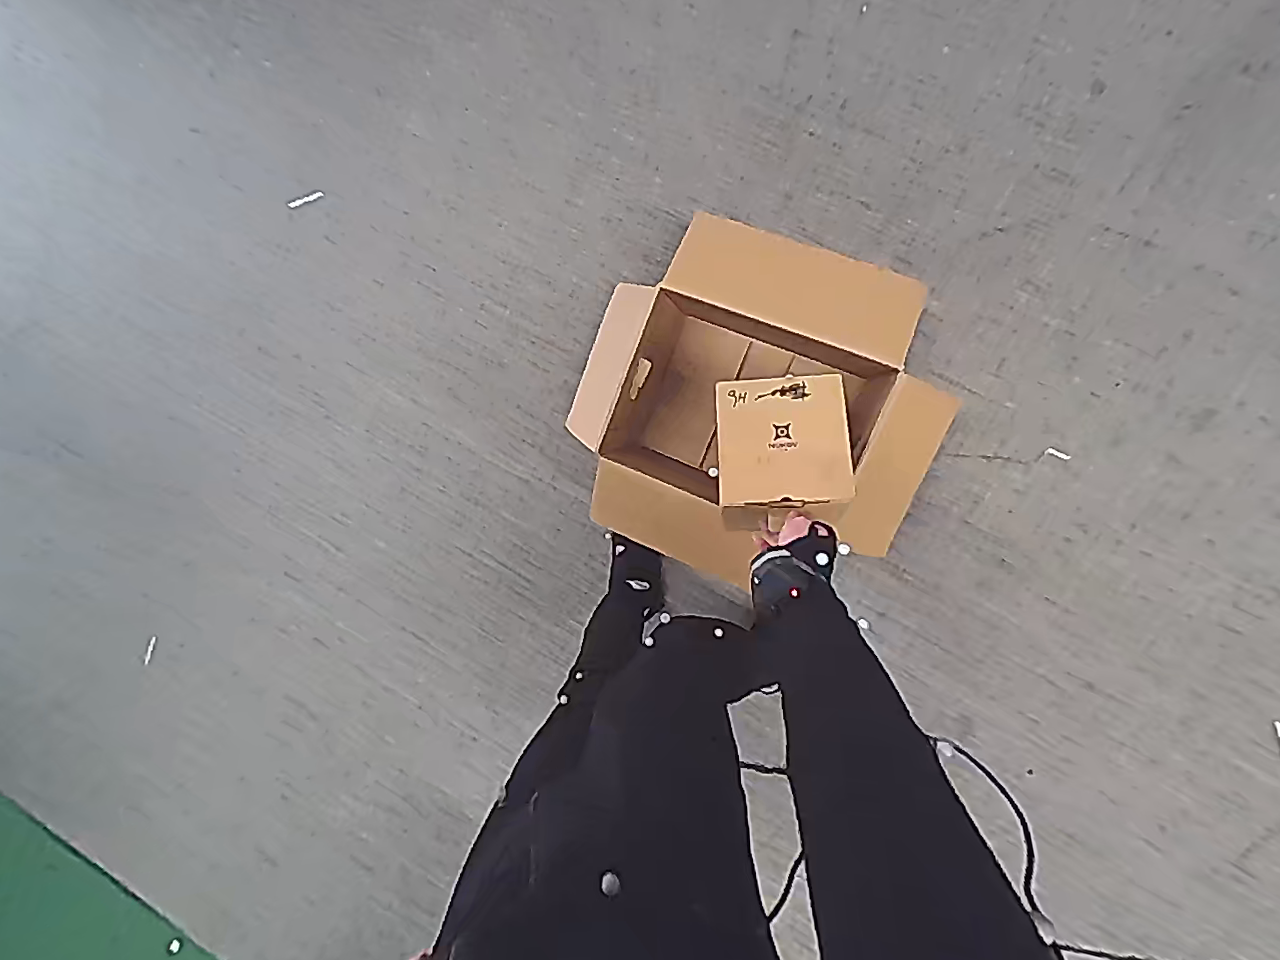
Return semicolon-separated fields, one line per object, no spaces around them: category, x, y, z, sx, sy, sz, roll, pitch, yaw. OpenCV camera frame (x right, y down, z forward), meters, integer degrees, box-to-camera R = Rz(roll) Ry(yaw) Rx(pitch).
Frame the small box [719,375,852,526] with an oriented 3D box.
small box;0.200;-0.032;0.777;0.168;0.176;0.179;-1;72;9
